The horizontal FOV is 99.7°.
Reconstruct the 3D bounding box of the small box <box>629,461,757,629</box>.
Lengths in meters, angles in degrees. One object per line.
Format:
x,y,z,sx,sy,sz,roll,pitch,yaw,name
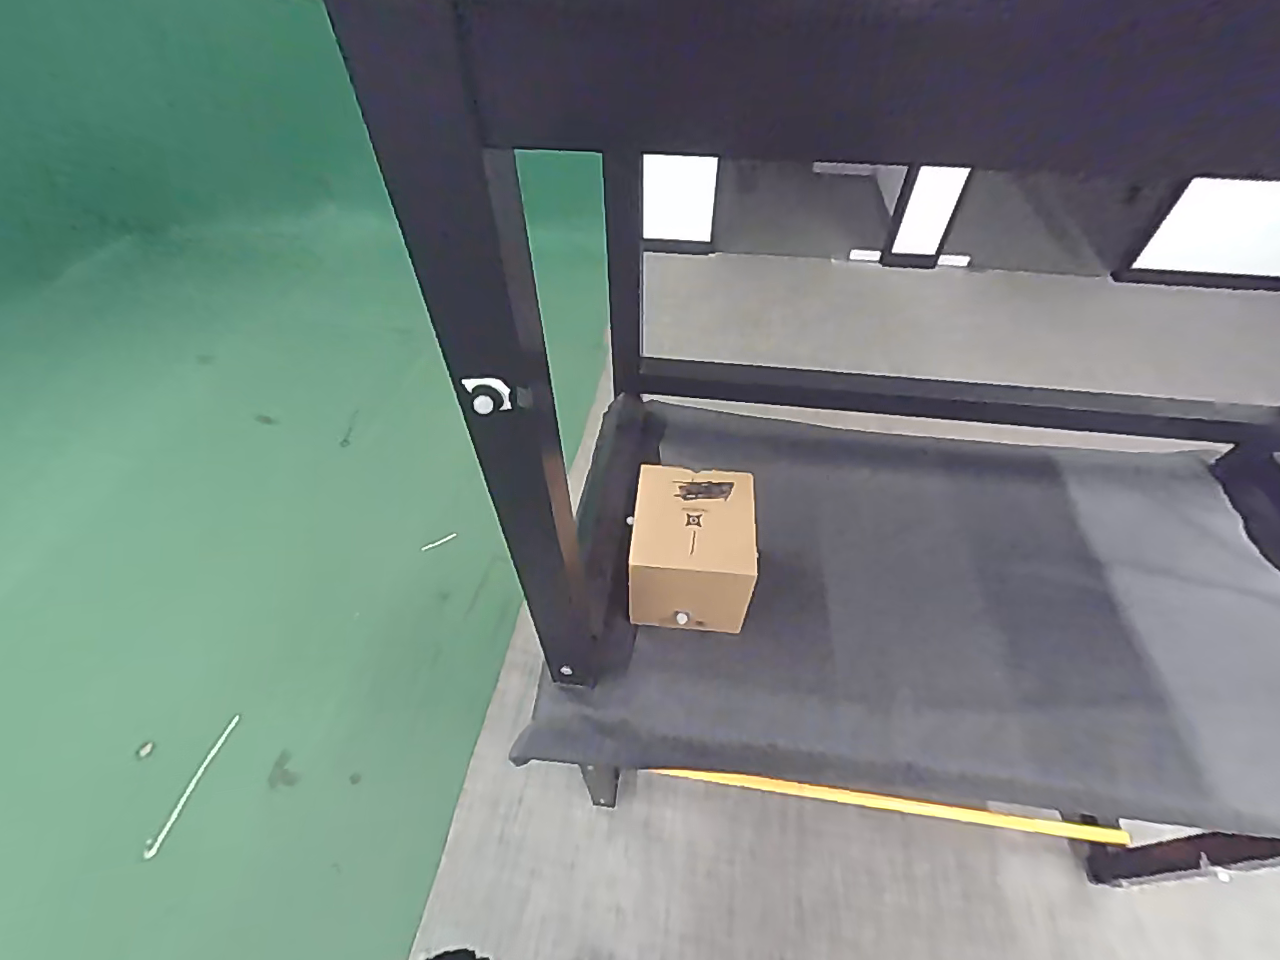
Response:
0.074,0.096,0.797,0.168,0.176,0.179,4,49,4,small box
